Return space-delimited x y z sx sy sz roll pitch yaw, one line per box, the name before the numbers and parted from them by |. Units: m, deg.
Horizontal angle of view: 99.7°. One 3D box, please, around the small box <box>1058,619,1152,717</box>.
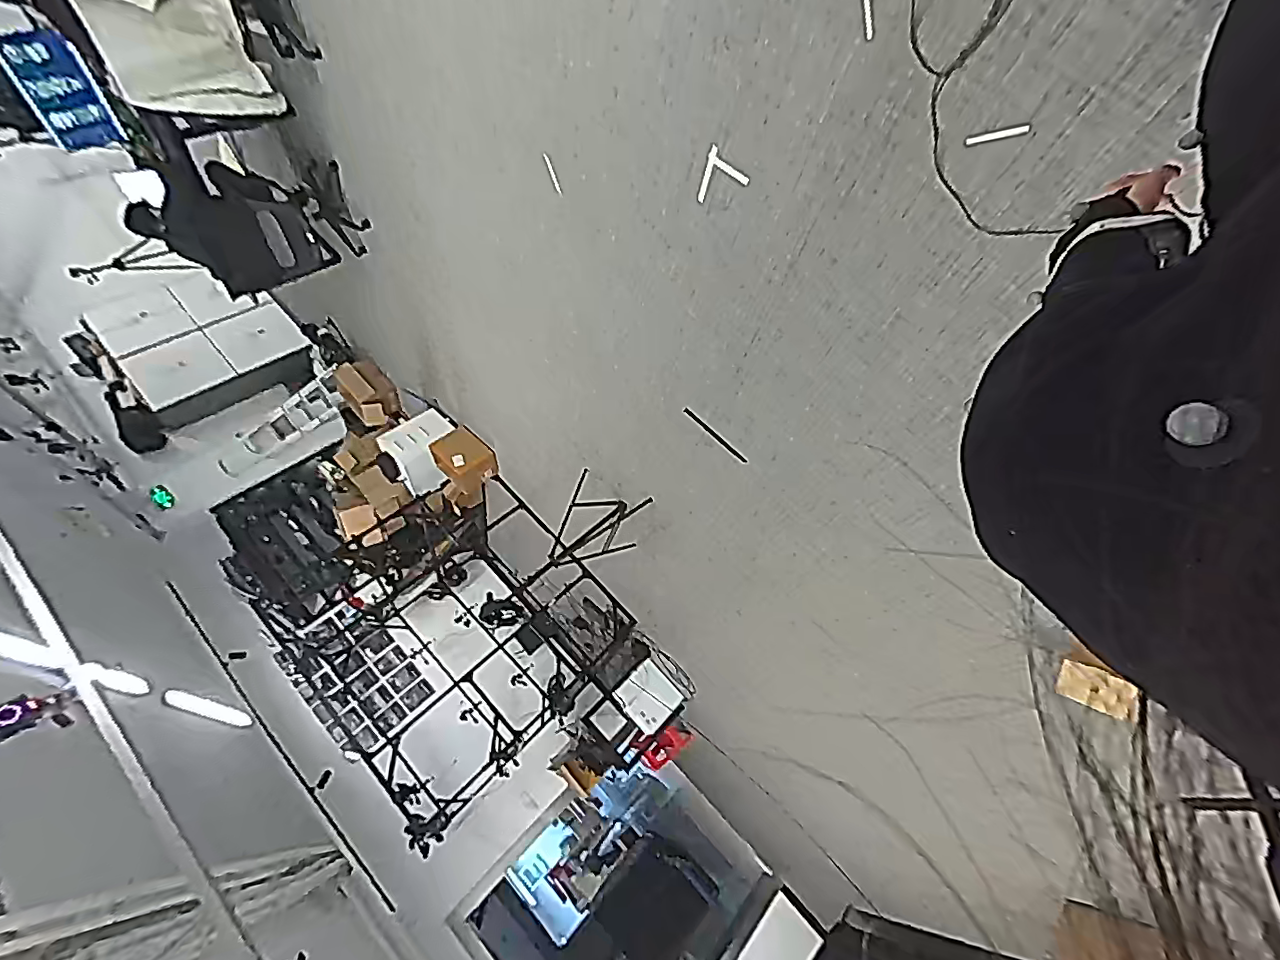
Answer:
small box | 1.364 0.542 1.585 0.168 0.176 0.179 20 140 45
